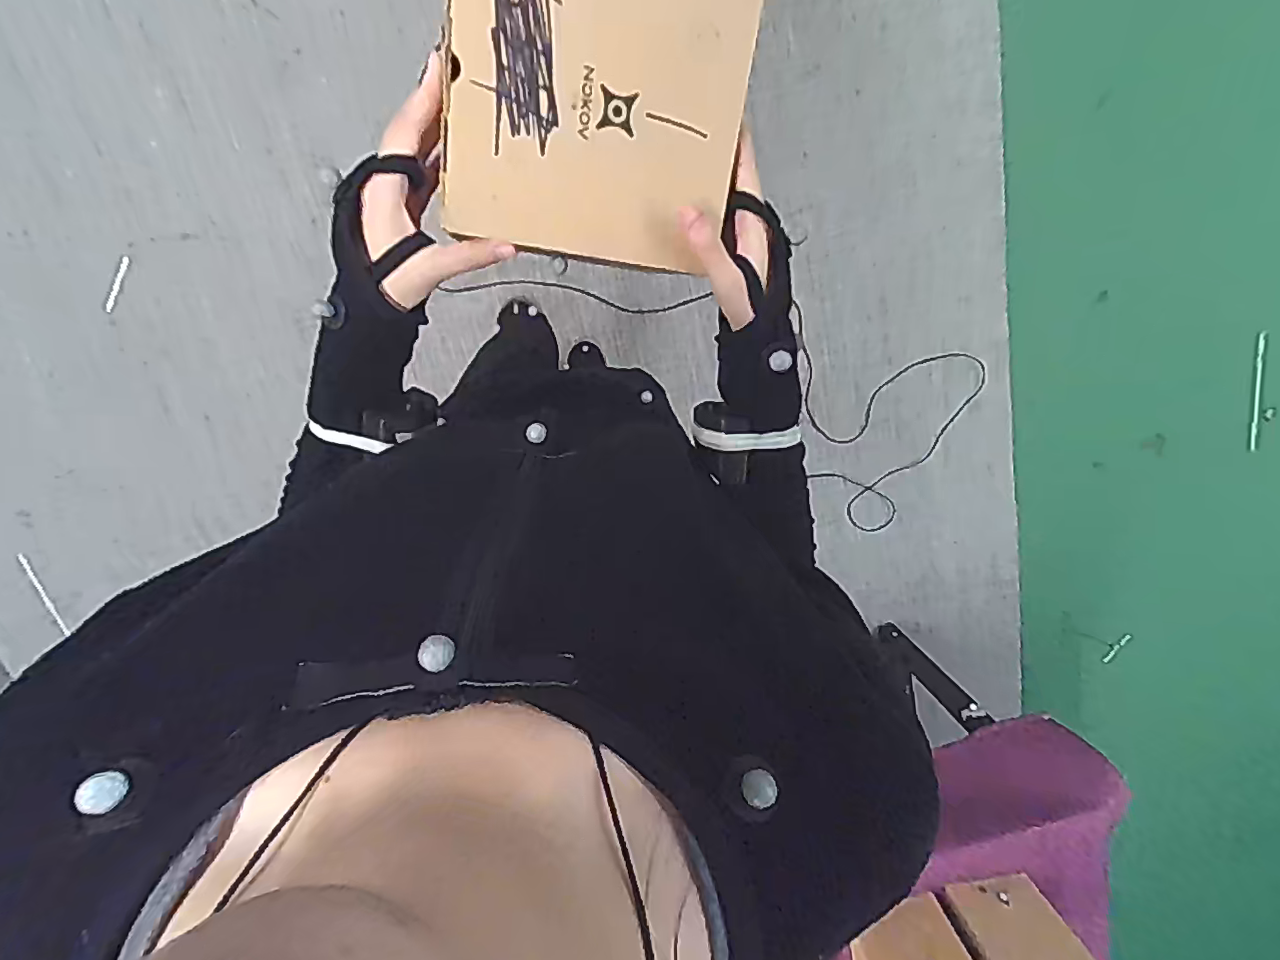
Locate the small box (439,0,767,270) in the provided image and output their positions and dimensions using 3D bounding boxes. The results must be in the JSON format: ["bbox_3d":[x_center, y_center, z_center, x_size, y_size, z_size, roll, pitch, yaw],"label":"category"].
[{"bbox_3d":[-0.041,-0.248,0.381,0.179,0.176,0.168,3,110,-18],"label":"small box"}]
